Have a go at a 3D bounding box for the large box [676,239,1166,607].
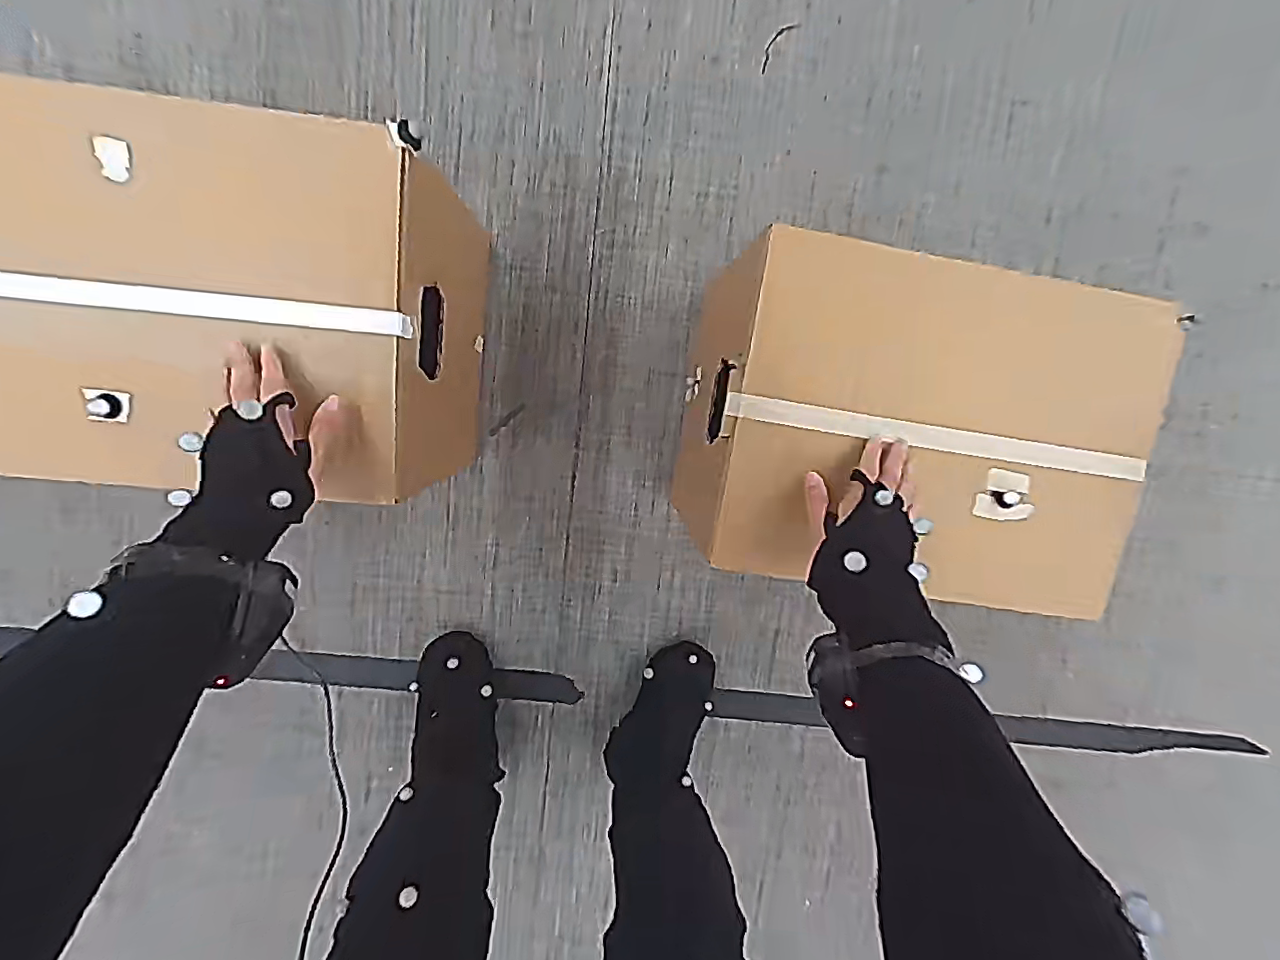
[{"bbox_3d":[0.278,-0.063,0.667,0.408,0.320,0.320,9,98,-6],"label":"large box"}]
